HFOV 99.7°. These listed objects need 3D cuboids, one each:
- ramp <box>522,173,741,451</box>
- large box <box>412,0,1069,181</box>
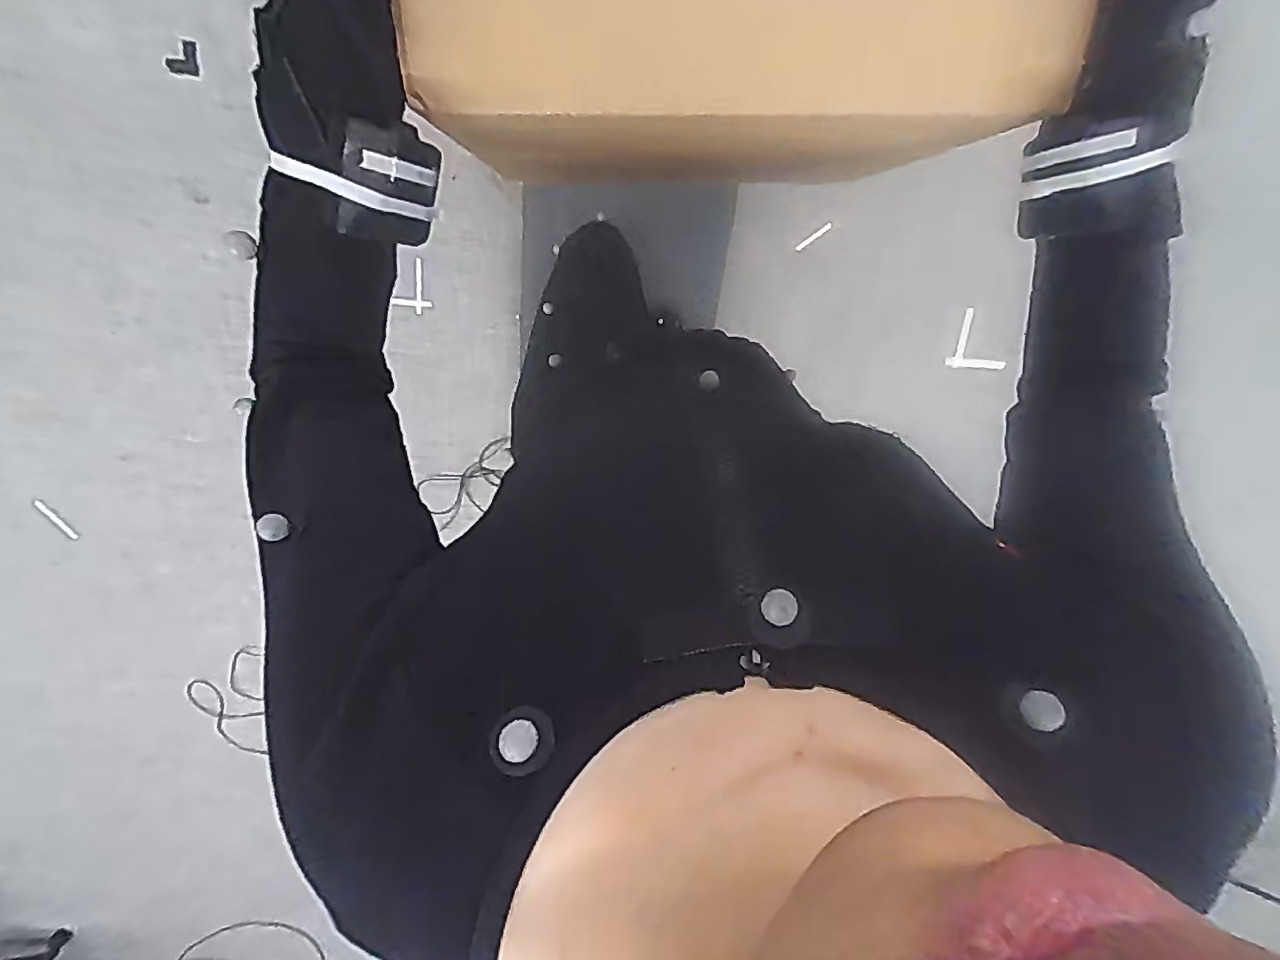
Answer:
[{"bbox_3d":[-0.034,-0.538,1.309,0.509,0.206,0.991,3,108,-5],"label":"ramp"},{"bbox_3d":[0.052,-0.434,0.422,0.408,0.320,0.320,-2,112,-3],"label":"large box"}]
